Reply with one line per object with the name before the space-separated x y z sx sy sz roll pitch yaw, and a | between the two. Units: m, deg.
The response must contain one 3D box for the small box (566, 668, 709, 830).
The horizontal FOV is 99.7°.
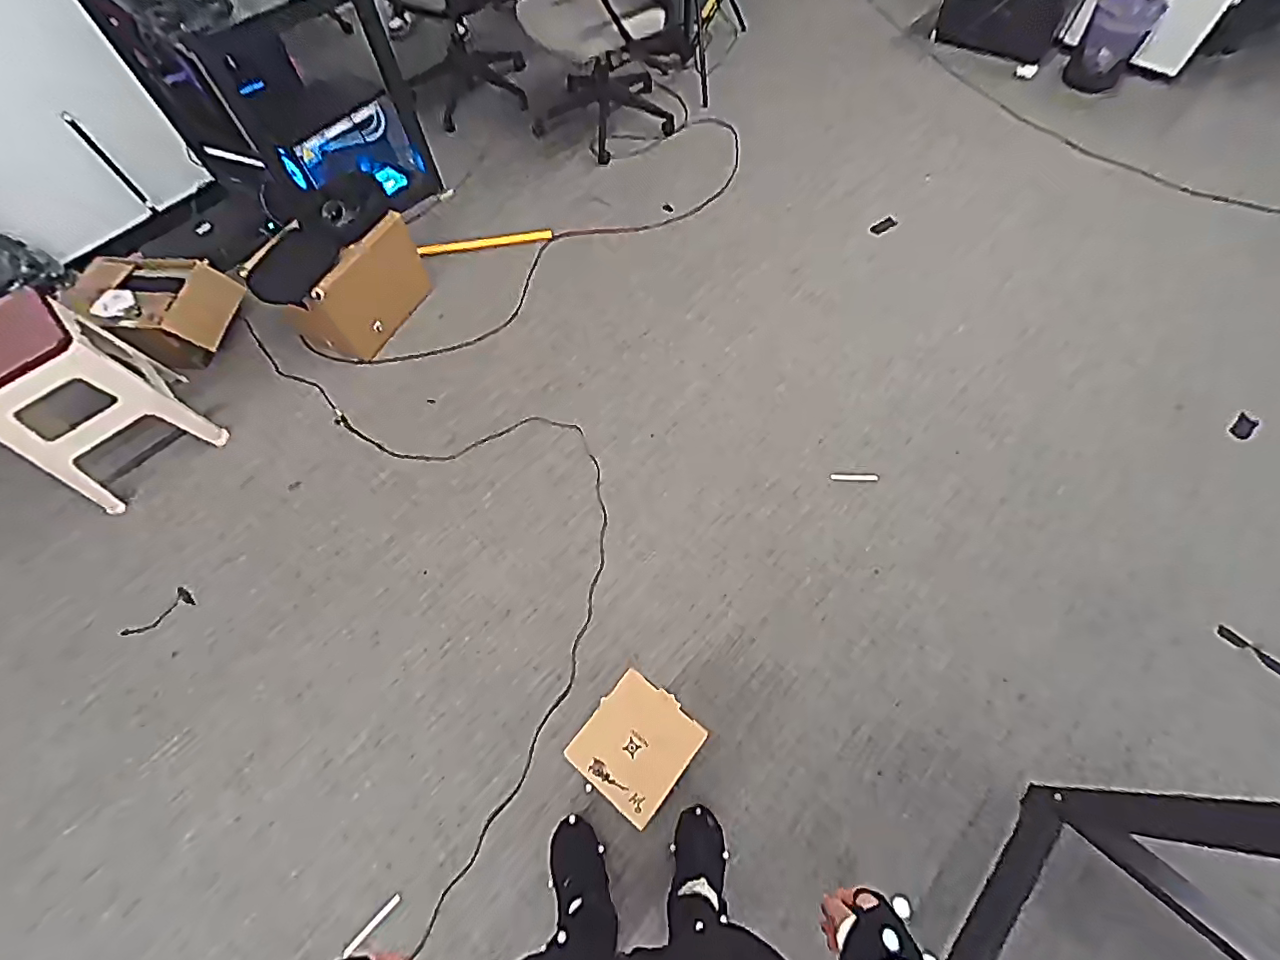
small box | -0.003 0.458 0.931 0.168 0.176 0.179 35 68 19
